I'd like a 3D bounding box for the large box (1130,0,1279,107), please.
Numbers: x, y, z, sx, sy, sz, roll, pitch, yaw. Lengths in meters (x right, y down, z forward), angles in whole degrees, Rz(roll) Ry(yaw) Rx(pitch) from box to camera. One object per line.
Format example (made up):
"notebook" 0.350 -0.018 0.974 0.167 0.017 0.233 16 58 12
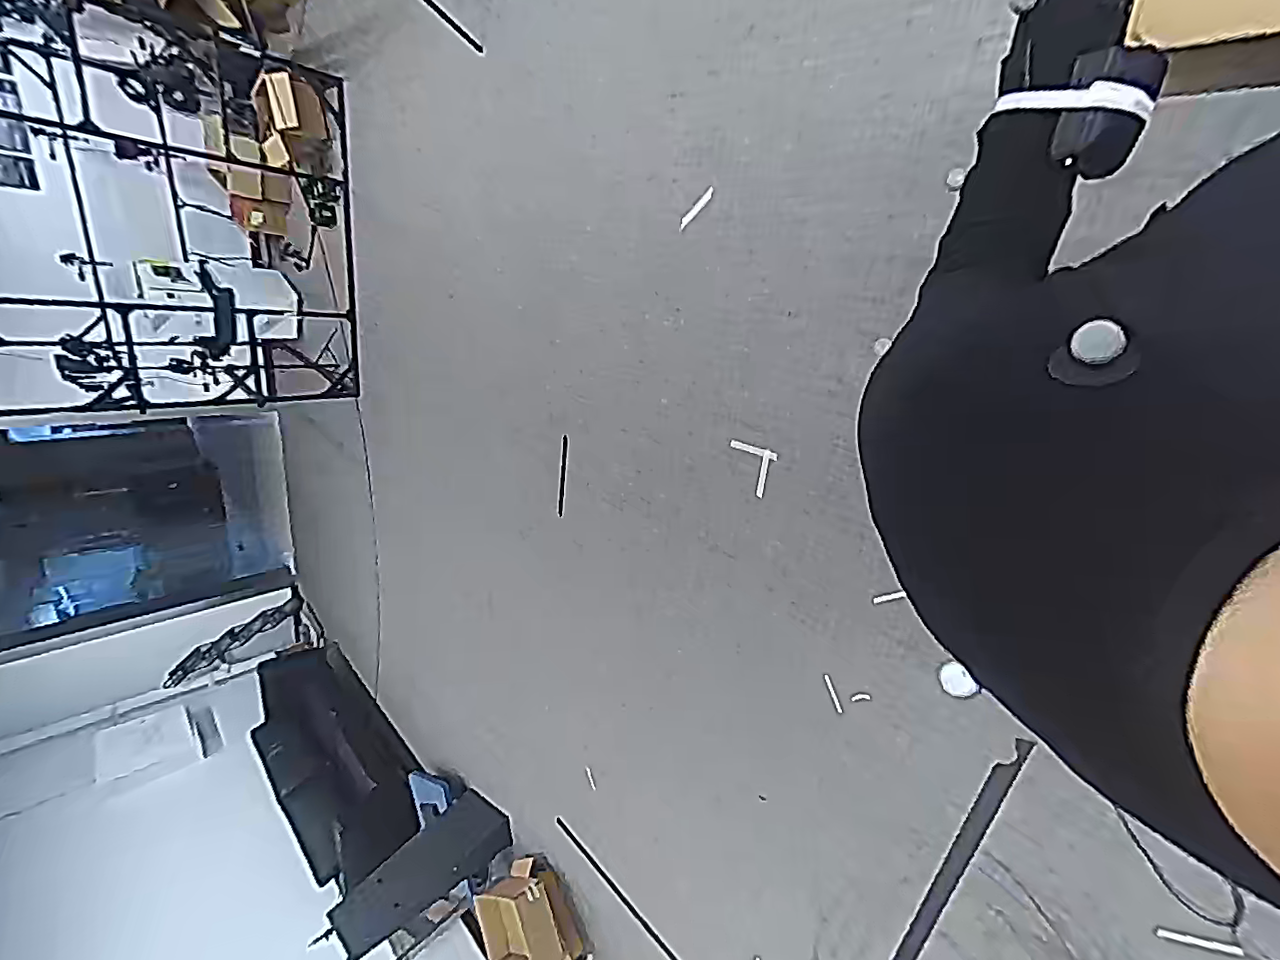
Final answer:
"large box" 0.558 -0.419 0.273 0.408 0.320 0.320 19 124 37
